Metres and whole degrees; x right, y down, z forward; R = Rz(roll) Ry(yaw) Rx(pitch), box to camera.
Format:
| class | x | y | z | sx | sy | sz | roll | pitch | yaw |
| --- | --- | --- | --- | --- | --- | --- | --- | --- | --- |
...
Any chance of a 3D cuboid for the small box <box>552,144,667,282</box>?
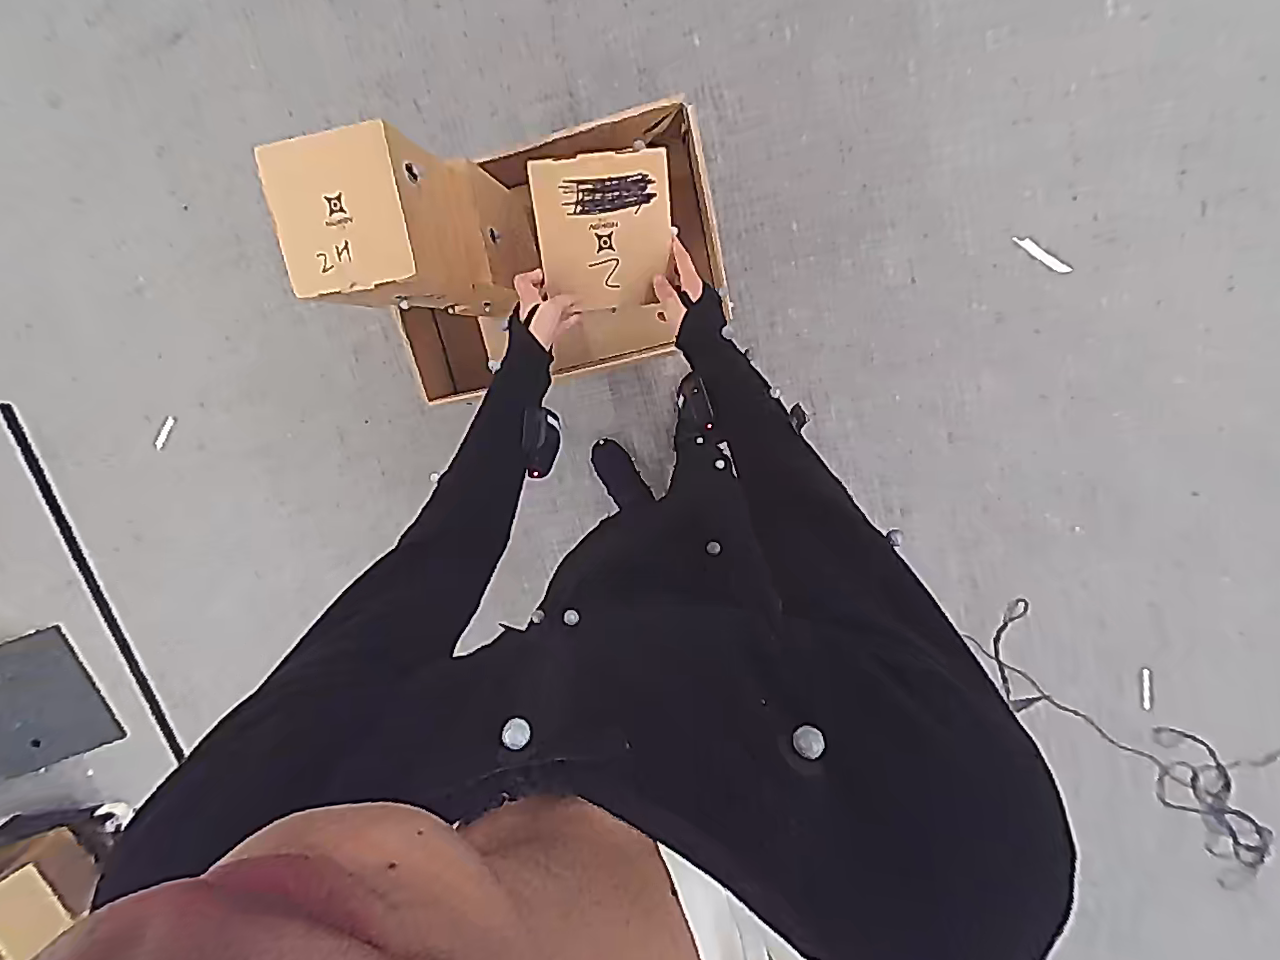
| class | x | y | z | sx | sy | sz | roll | pitch | yaw |
| --- | --- | --- | --- | --- | --- | --- | --- | --- | --- |
| small box | -0.048 | -0.477 | 0.994 | 0.168 | 0.176 | 0.179 | -10 | 104 | 9 |

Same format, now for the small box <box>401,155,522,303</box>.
| class | x | y | z | sx | sy | sz | roll | pitch | yaw |
| --- | --- | --- | --- | --- | --- | --- | --- | --- | --- |
| small box | -0.303 | -0.388 | 0.872 | 0.168 | 0.176 | 0.179 | -8 | 103 | 7 |

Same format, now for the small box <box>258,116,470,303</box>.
| class | x | y | z | sx | sy | sz | roll | pitch | yaw |
| --- | --- | --- | --- | --- | --- | --- | --- | --- | --- |
| small box | -0.348 | -0.341 | 0.718 | 0.168 | 0.176 | 0.179 | -7 | 104 | 7 |
